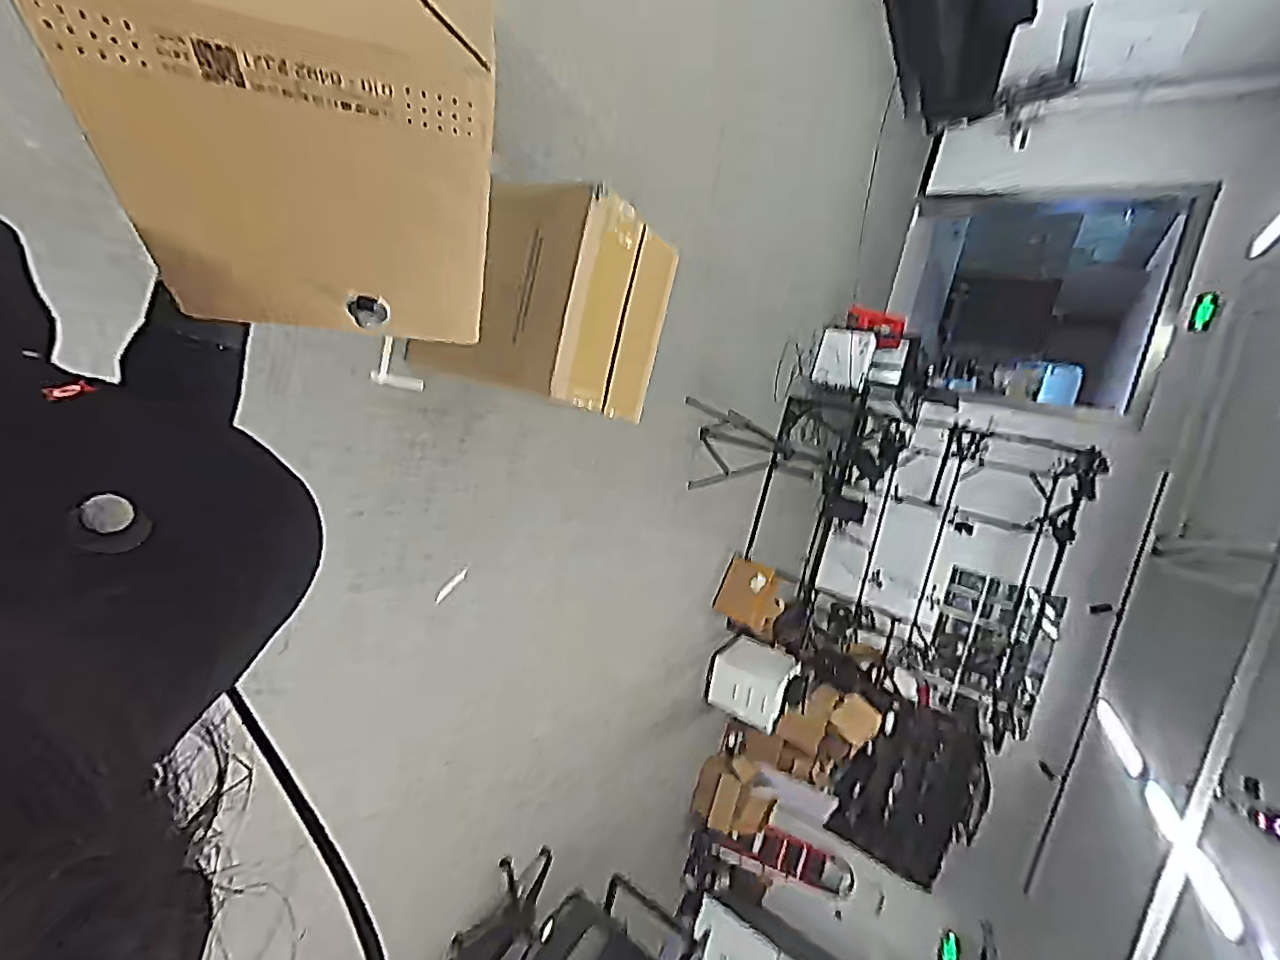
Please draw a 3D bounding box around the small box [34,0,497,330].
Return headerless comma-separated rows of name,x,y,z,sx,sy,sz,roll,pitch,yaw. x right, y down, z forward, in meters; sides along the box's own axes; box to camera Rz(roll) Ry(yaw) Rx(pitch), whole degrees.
small box,-0.171,-0.215,0.304,0.176,0.168,0.179,121,-35,-57
